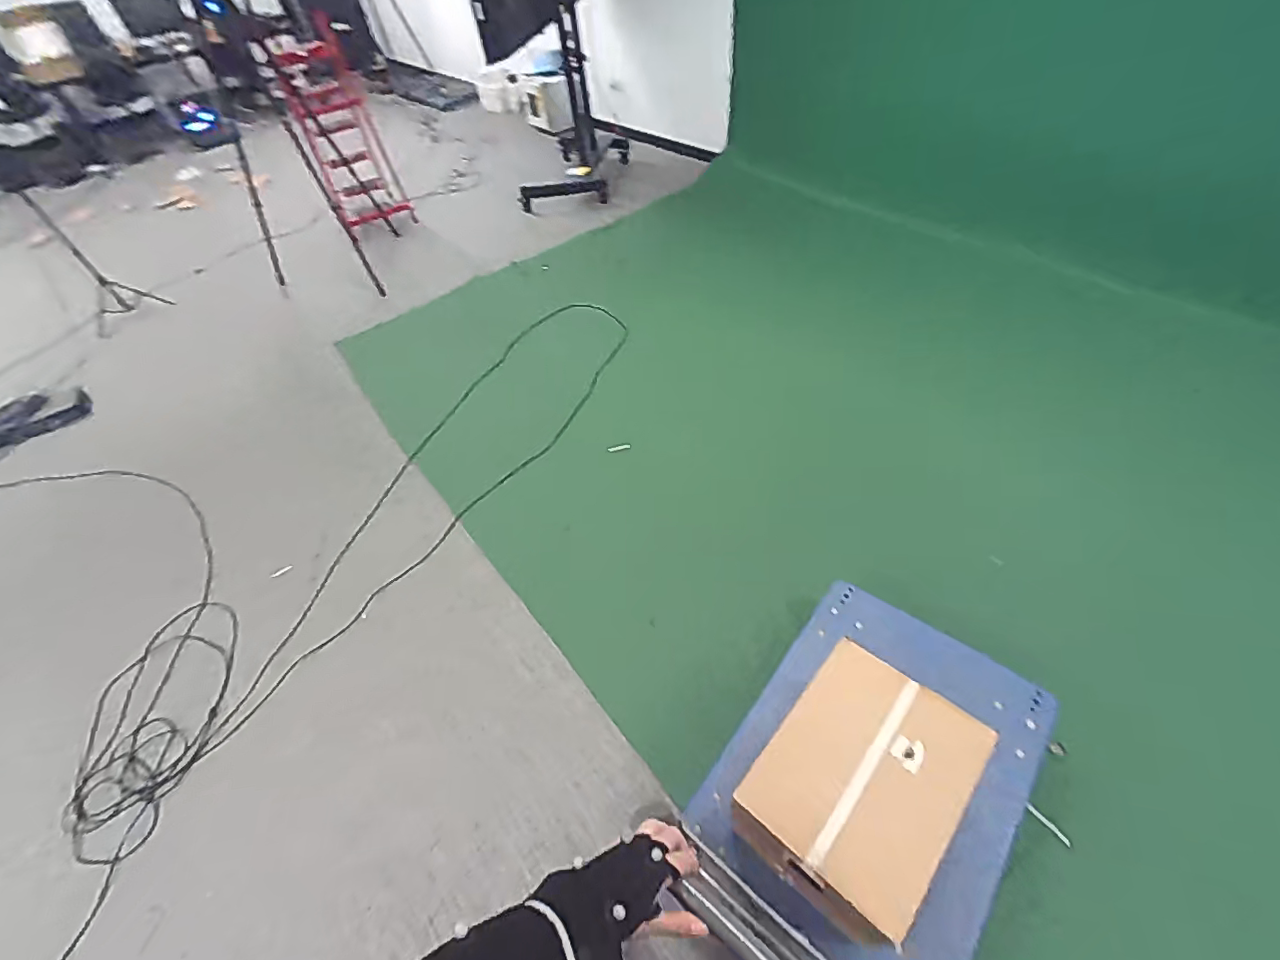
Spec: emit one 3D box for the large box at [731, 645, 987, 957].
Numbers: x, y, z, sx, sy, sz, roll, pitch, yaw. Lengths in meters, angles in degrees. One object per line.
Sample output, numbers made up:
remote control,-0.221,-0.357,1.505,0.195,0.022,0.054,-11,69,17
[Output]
large box,0.421,0.636,1.097,0.320,0.320,0.408,31,58,30
